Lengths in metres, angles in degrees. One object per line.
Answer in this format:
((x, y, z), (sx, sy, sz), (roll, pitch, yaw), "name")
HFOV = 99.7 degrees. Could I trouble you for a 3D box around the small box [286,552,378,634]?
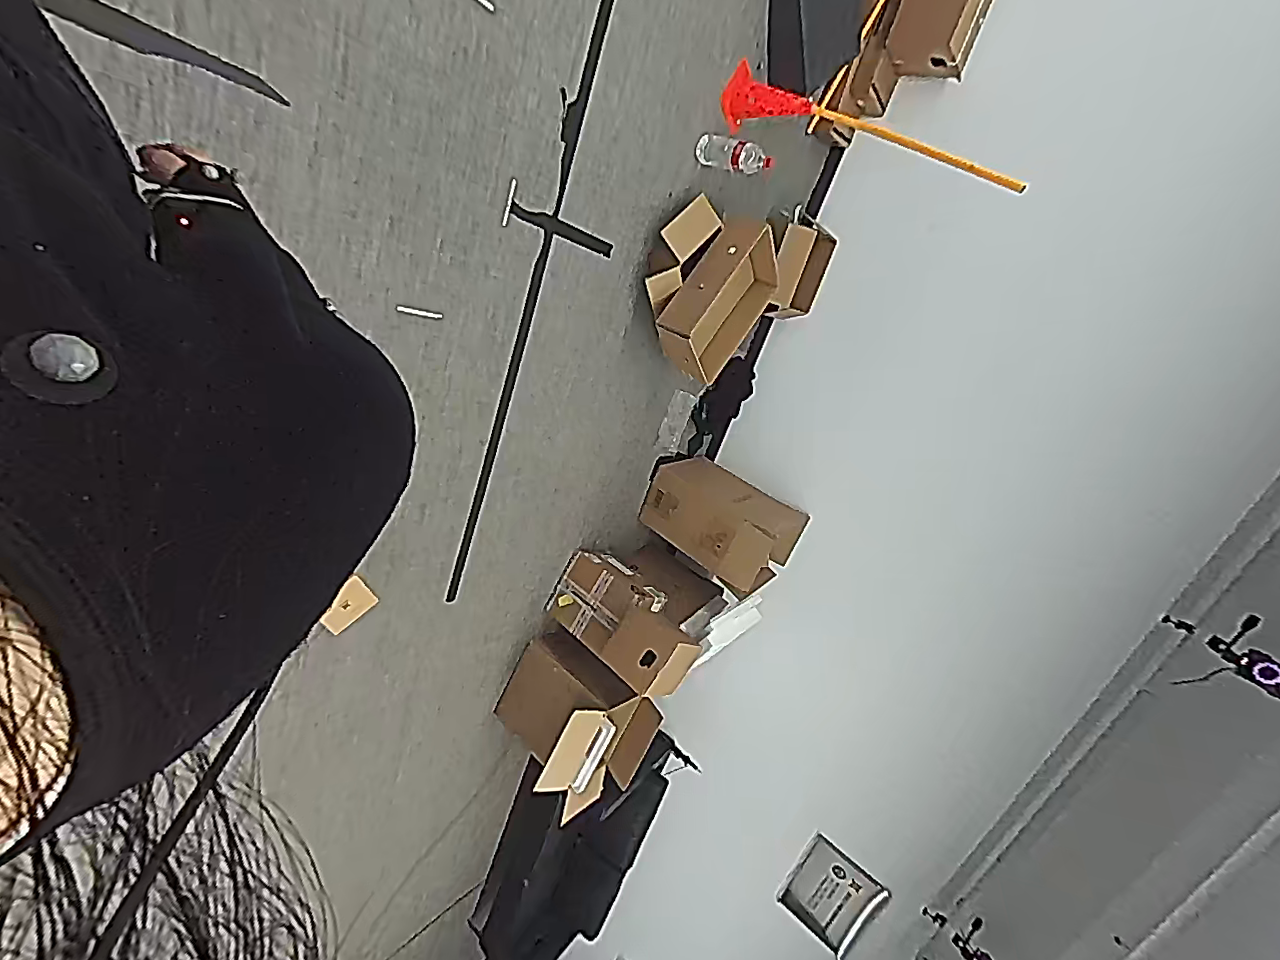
((-1.005, 0.362, 1.762), (0.168, 0.176, 0.179), (-42, 149, -26), "small box")
